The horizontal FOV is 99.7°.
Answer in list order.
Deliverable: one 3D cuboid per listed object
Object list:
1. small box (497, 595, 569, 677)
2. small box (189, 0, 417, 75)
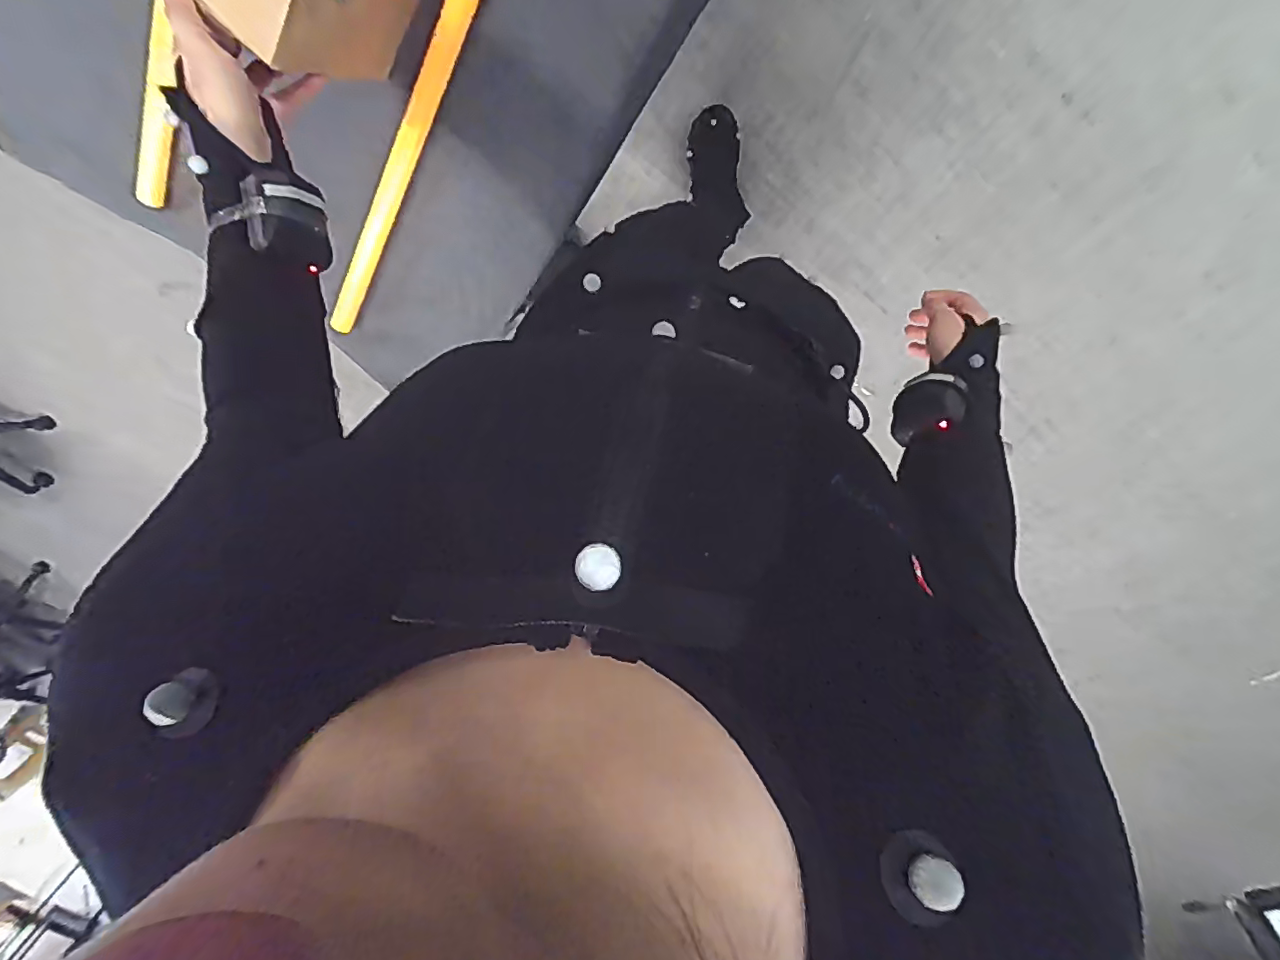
[{"bbox_3d":[-0.351,0.516,1.808,0.168,0.176,0.179,30,124,-11],"label":"small box"},{"bbox_3d":[-0.279,-0.460,0.426,0.168,0.176,0.179,37,122,-16],"label":"small box"}]
